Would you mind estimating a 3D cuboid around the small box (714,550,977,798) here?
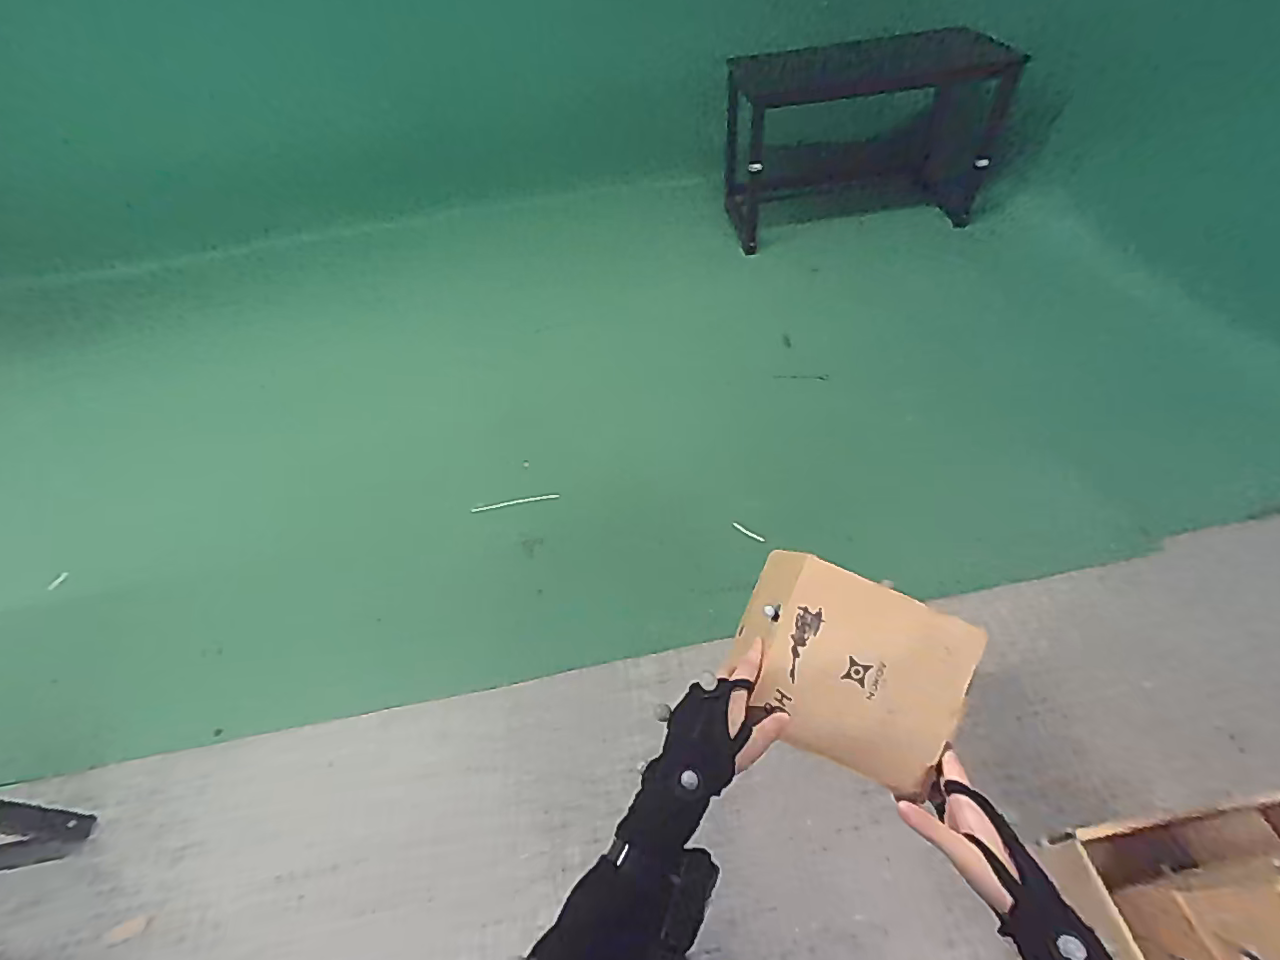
[{"bbox_3d":[0.193,0.179,0.561,0.179,0.176,0.168,24,84,4],"label":"small box"}]
